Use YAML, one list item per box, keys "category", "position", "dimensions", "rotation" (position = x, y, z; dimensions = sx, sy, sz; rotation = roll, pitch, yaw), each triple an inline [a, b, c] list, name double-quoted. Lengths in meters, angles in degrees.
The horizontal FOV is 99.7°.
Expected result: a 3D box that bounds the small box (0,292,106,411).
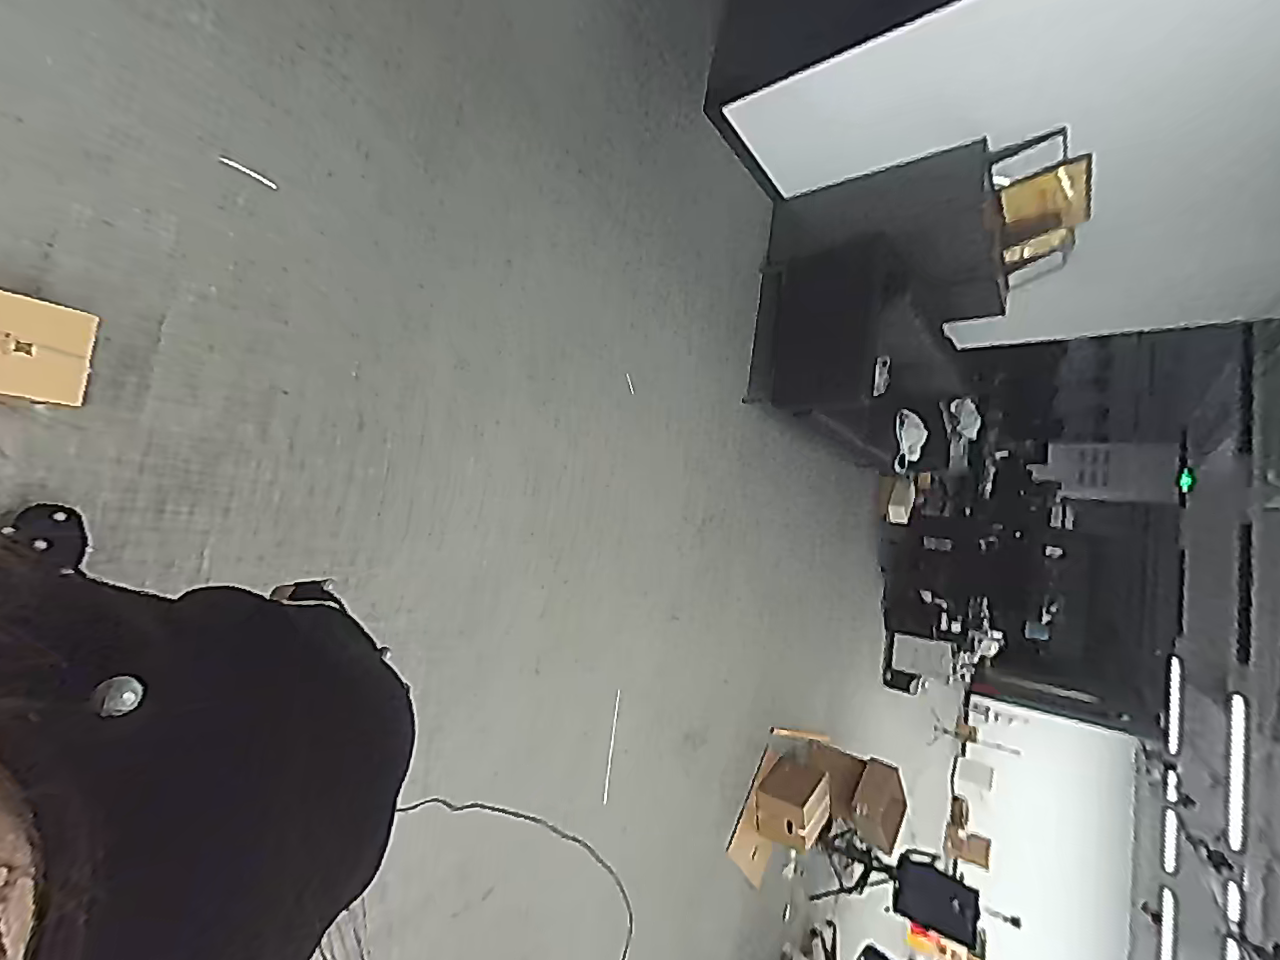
- category: "small box"
  position: [-1.069, -0.217, 0.929]
  dimensions: [0.179, 0.176, 0.168]
  rotation: [13, 82, -51]
